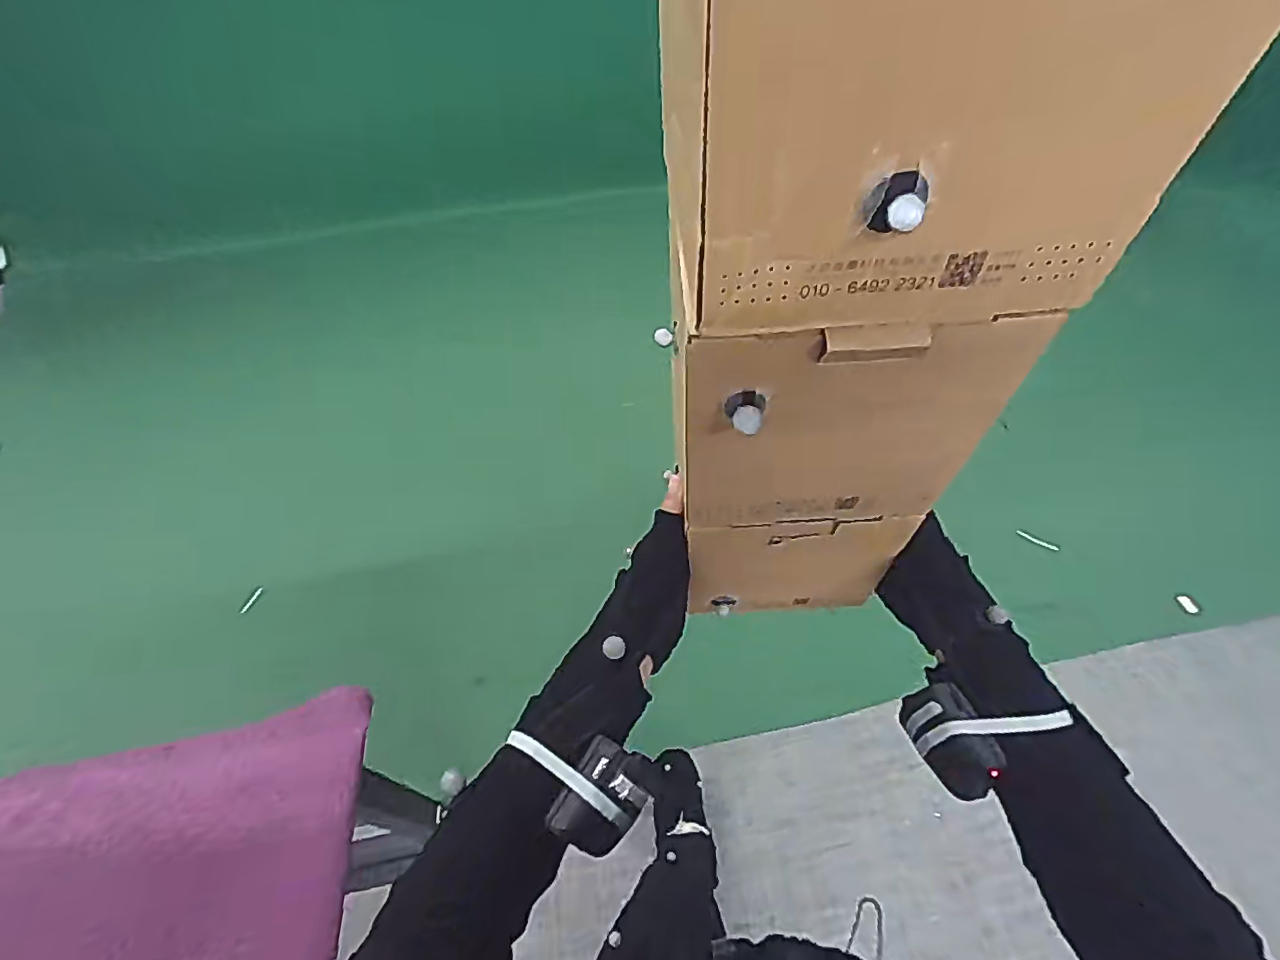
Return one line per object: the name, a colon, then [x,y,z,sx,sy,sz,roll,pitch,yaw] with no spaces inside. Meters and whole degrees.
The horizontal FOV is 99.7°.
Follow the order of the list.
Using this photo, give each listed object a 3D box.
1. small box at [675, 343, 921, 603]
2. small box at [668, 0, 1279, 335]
small box: [0.119,0.004,0.488,0.168,0.176,0.179,-3,55,3]
small box: [0.098,-0.183,0.220,0.168,0.176,0.179,-4,56,1]
